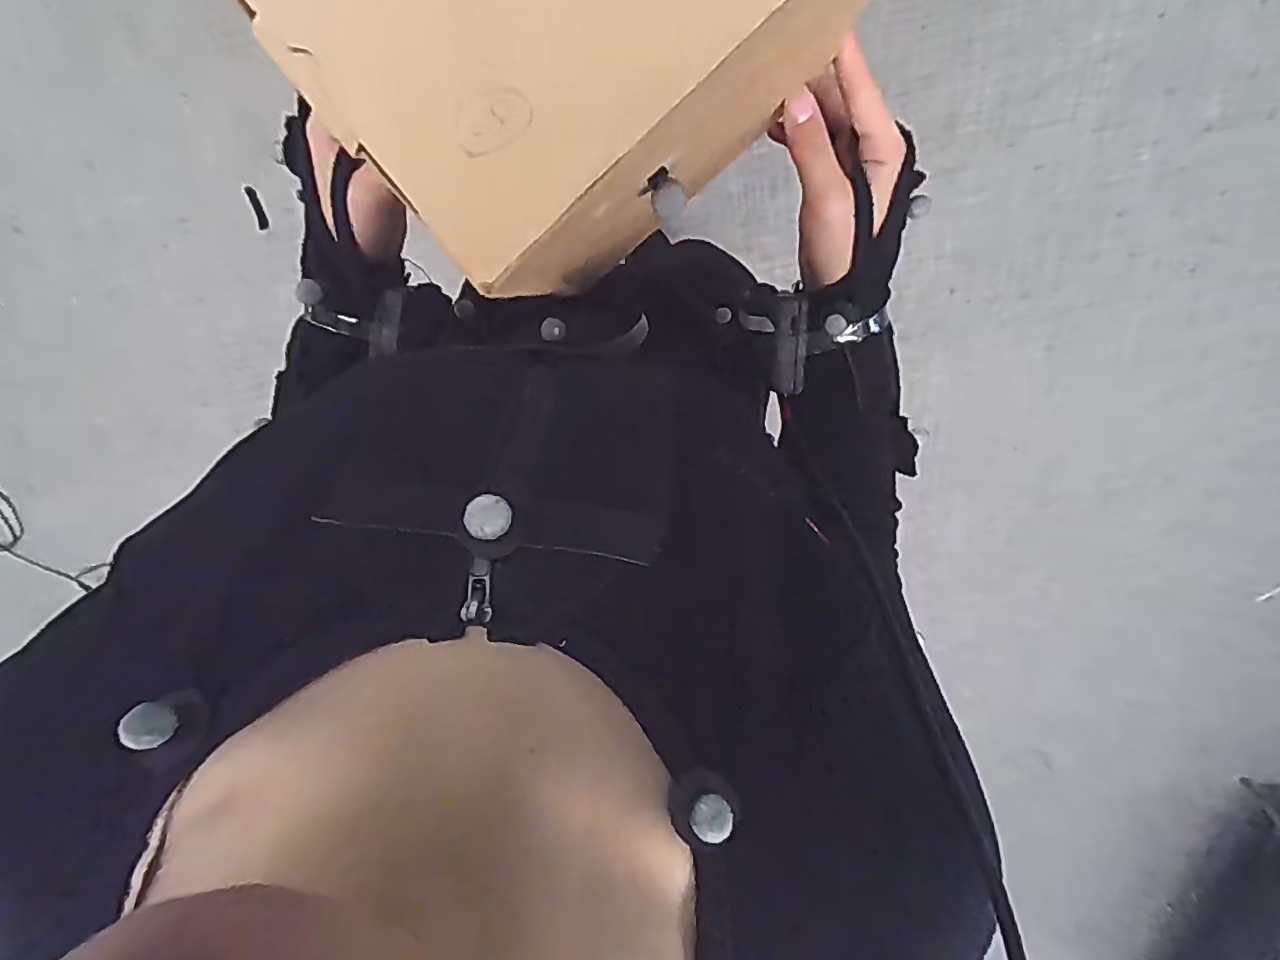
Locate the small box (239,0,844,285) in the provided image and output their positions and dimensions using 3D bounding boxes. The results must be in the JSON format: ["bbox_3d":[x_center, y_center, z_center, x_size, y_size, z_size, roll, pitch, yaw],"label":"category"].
[{"bbox_3d":[-0.028,-0.200,0.223,0.179,0.176,0.168,-36,101,17],"label":"small box"}]
